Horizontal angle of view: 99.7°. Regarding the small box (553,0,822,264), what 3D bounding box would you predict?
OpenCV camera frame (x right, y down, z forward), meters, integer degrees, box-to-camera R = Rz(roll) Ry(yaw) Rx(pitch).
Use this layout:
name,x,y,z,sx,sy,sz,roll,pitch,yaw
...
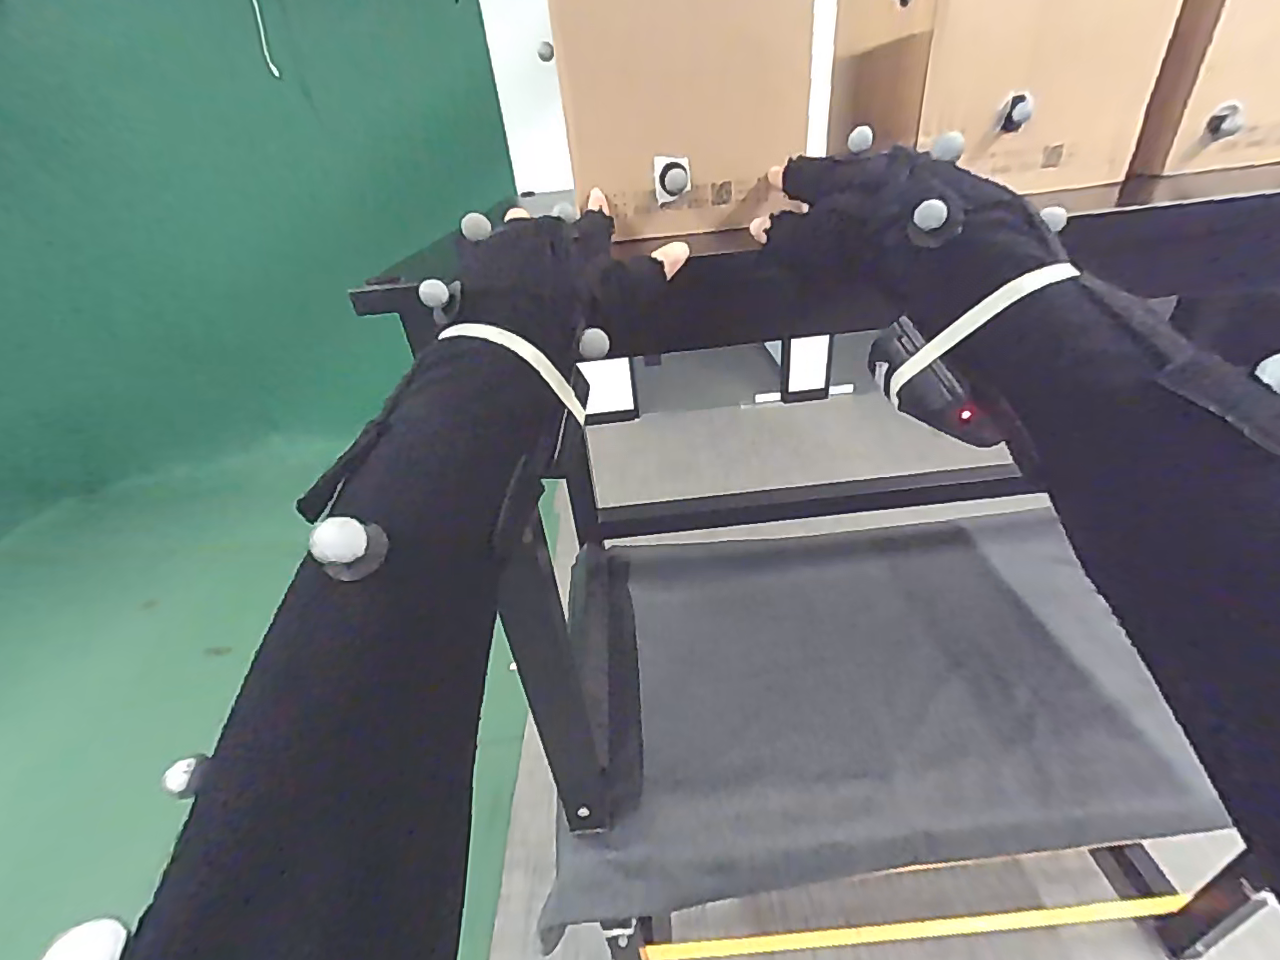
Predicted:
name,x,y,z,sx,sy,sz,roll,pitch,yaw
small box,0.029,-0.280,0.430,0.168,0.176,0.179,-8,33,-1
